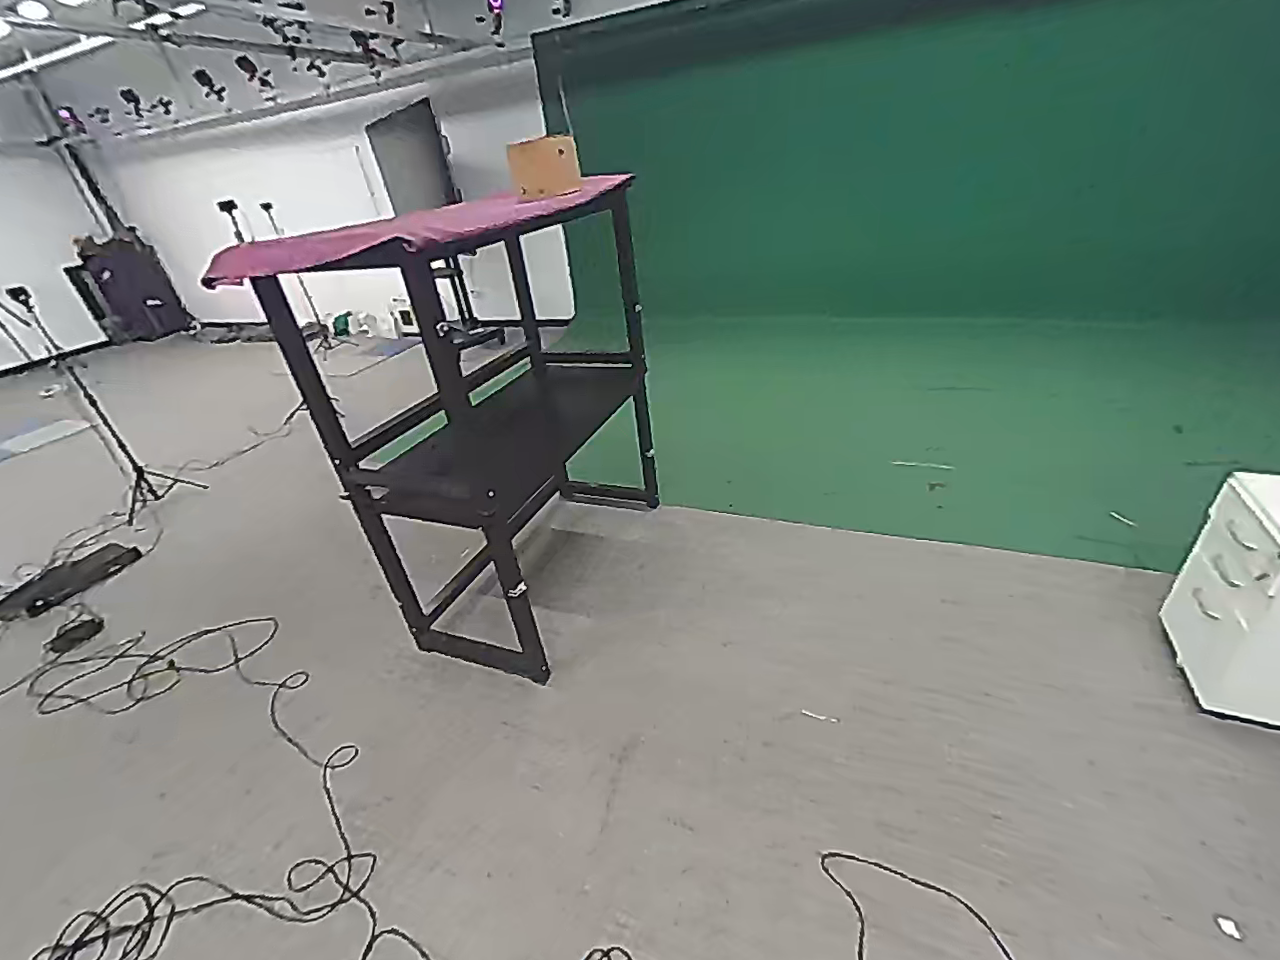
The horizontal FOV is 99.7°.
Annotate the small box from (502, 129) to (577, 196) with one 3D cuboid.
[{"bbox_3d":[-0.327,-1.058,1.808,0.168,0.176,0.179,5,34,24],"label":"small box"}]
